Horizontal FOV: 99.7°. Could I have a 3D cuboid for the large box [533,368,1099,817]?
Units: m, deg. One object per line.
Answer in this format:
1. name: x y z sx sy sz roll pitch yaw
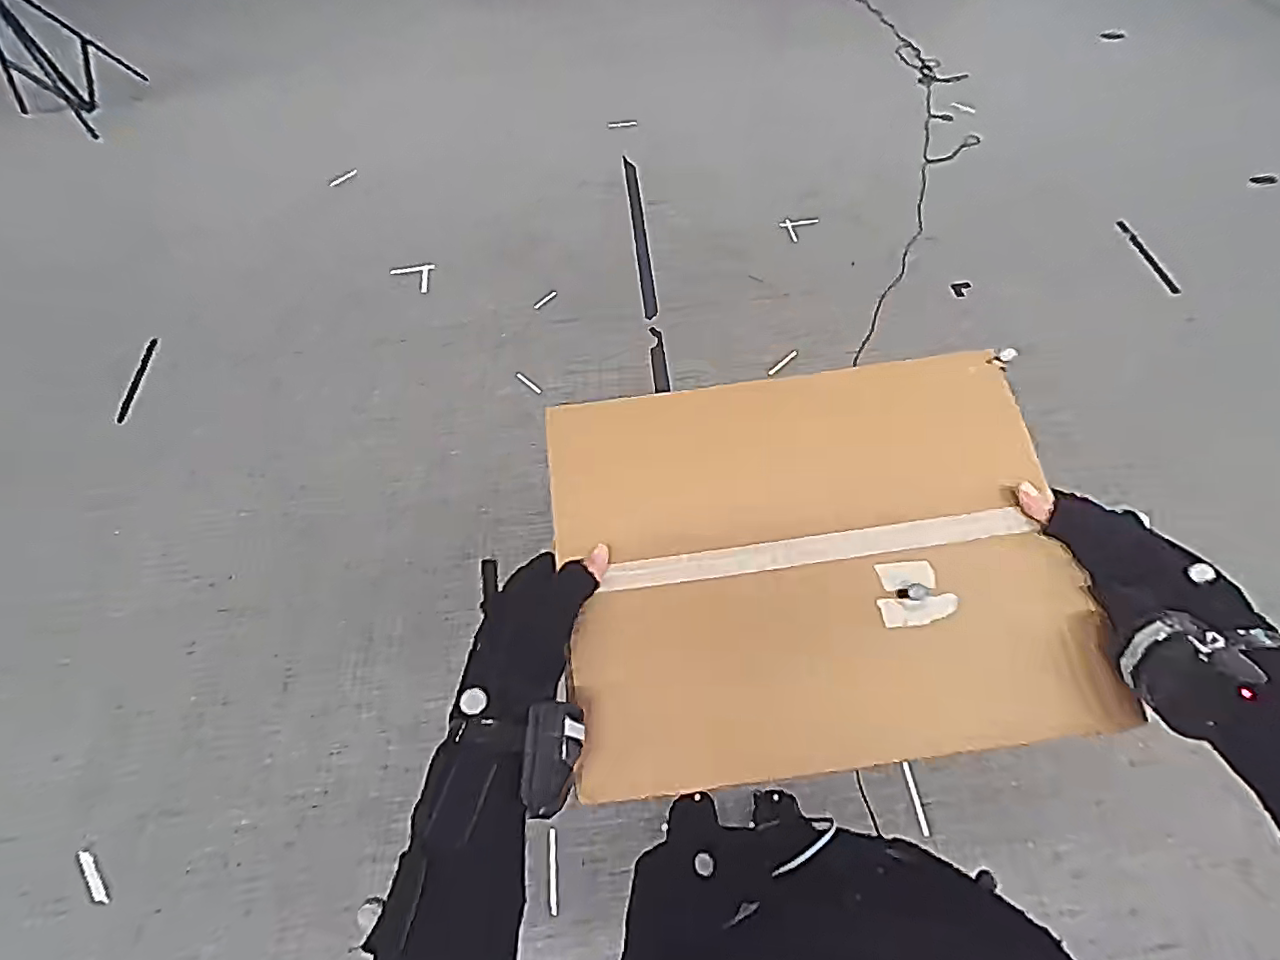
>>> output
1. large box: 0.126 0.121 0.585 0.408 0.320 0.320 -9 71 -1
